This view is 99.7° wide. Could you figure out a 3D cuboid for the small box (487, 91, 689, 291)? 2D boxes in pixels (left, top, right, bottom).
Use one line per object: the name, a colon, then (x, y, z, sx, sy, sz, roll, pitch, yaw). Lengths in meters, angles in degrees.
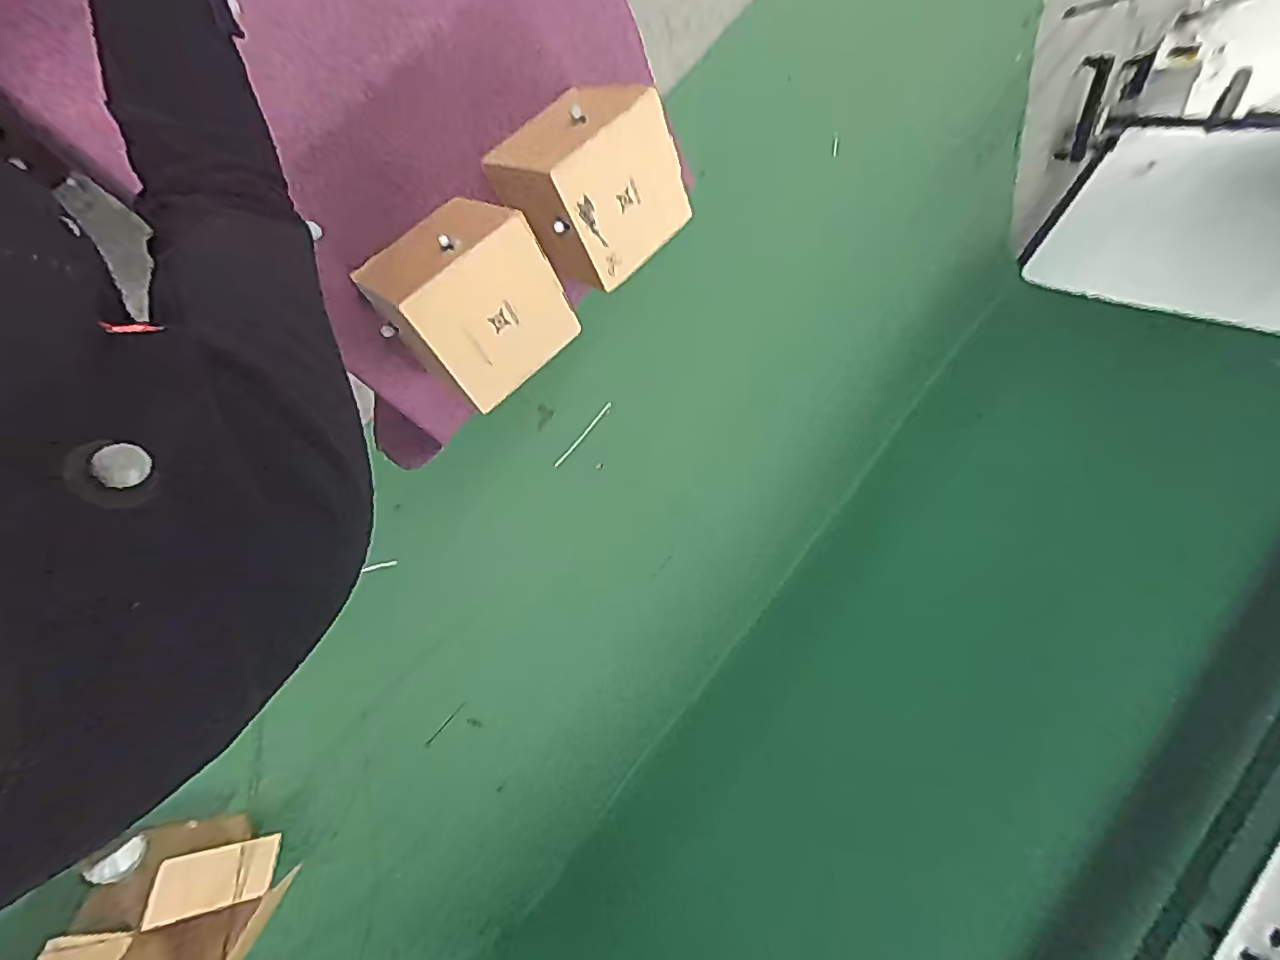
small box: (-0.067, -0.389, 0.721, 0.179, 0.176, 0.168, -46, 141, -13)
